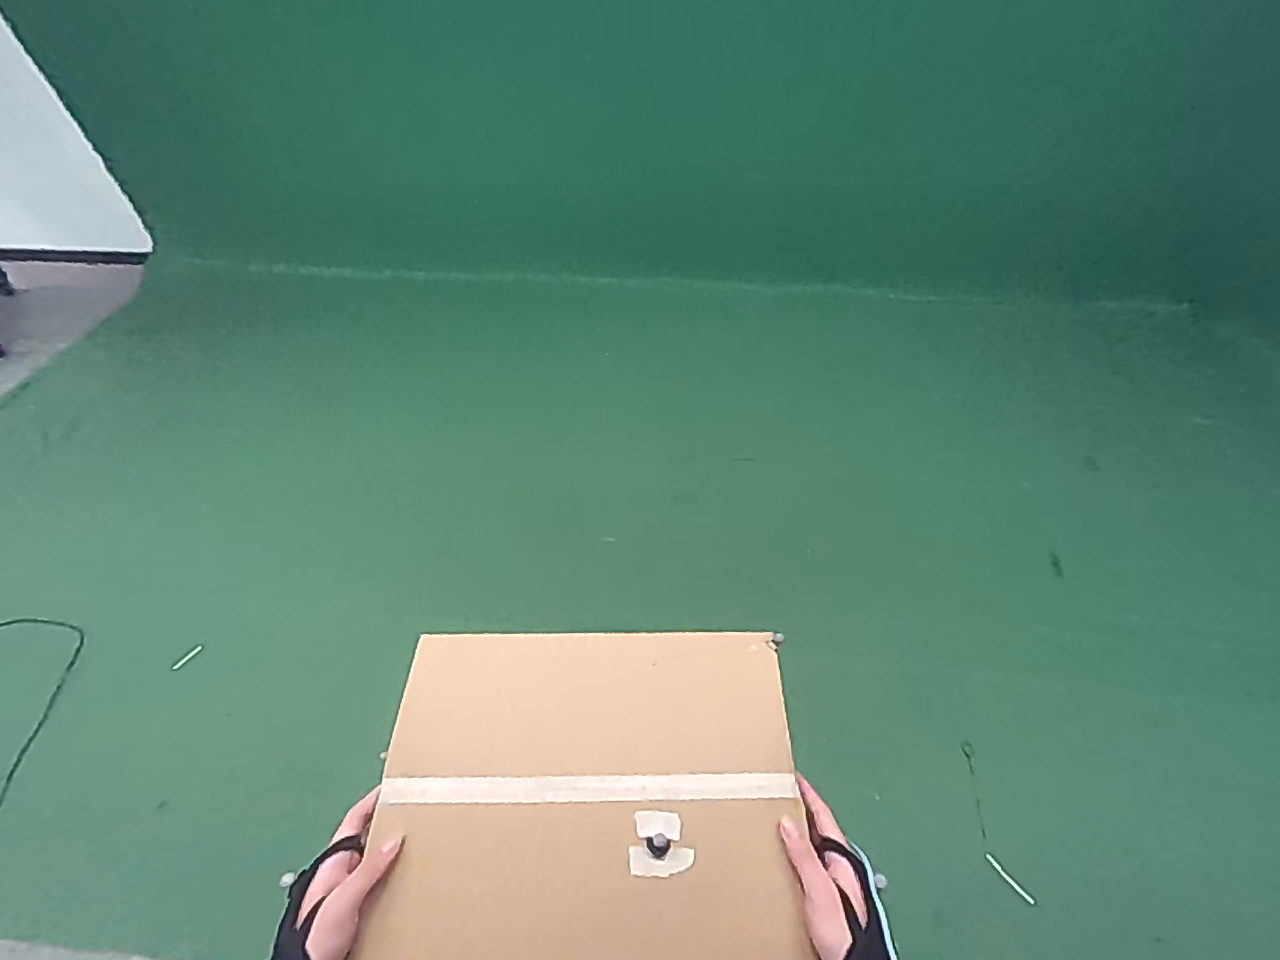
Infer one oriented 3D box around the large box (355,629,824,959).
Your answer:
[{"bbox_3d":[-0.047,0.391,0.655,0.408,0.320,0.320,0,52,-1],"label":"large box"}]
